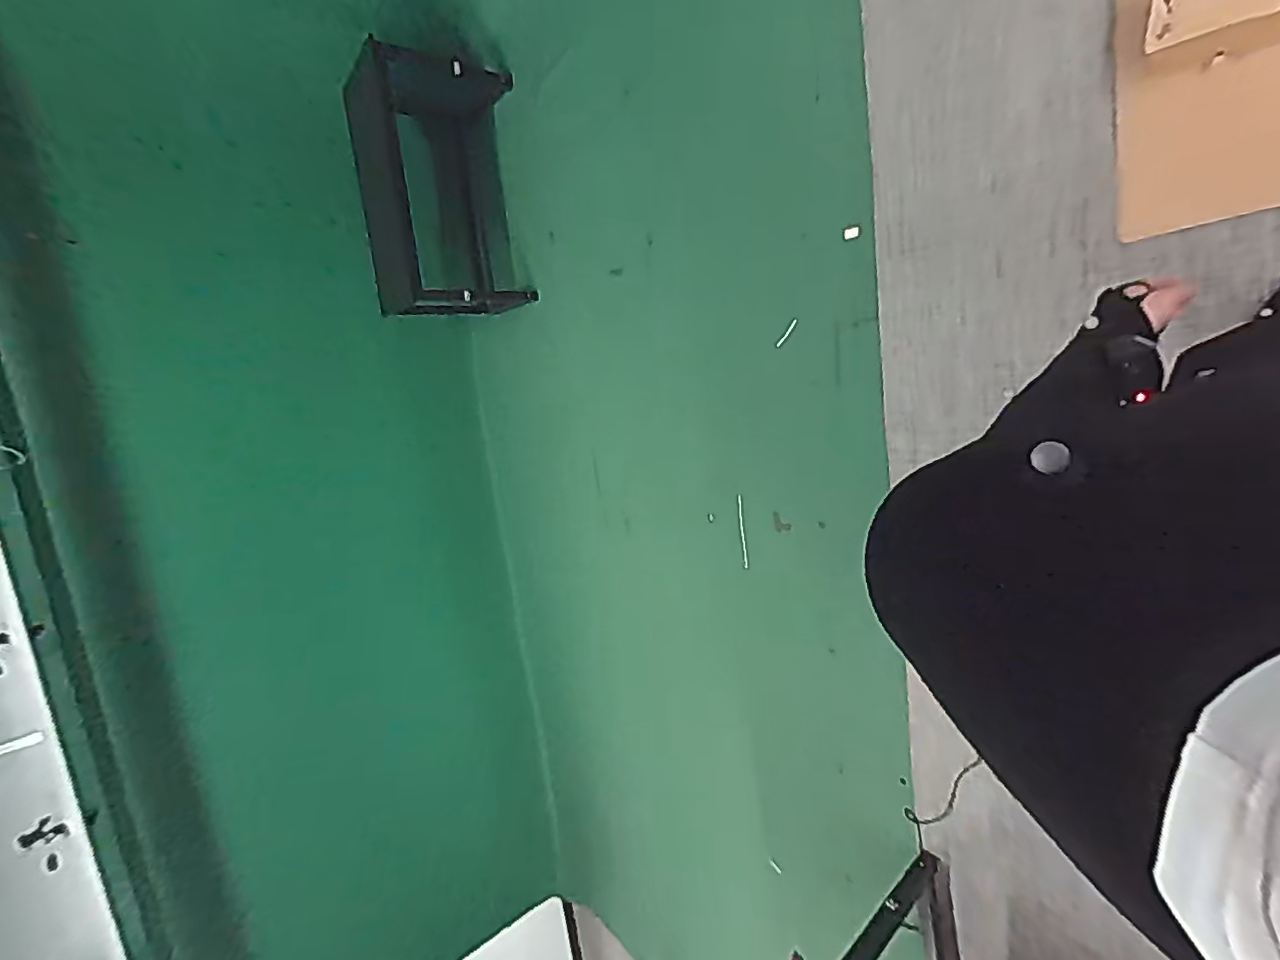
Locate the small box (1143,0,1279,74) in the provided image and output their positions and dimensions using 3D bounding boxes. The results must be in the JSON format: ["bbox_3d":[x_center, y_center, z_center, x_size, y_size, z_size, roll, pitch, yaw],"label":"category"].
[{"bbox_3d":[1.058,-0.880,0.980,0.179,0.176,0.168,14,112,49],"label":"small box"}]
